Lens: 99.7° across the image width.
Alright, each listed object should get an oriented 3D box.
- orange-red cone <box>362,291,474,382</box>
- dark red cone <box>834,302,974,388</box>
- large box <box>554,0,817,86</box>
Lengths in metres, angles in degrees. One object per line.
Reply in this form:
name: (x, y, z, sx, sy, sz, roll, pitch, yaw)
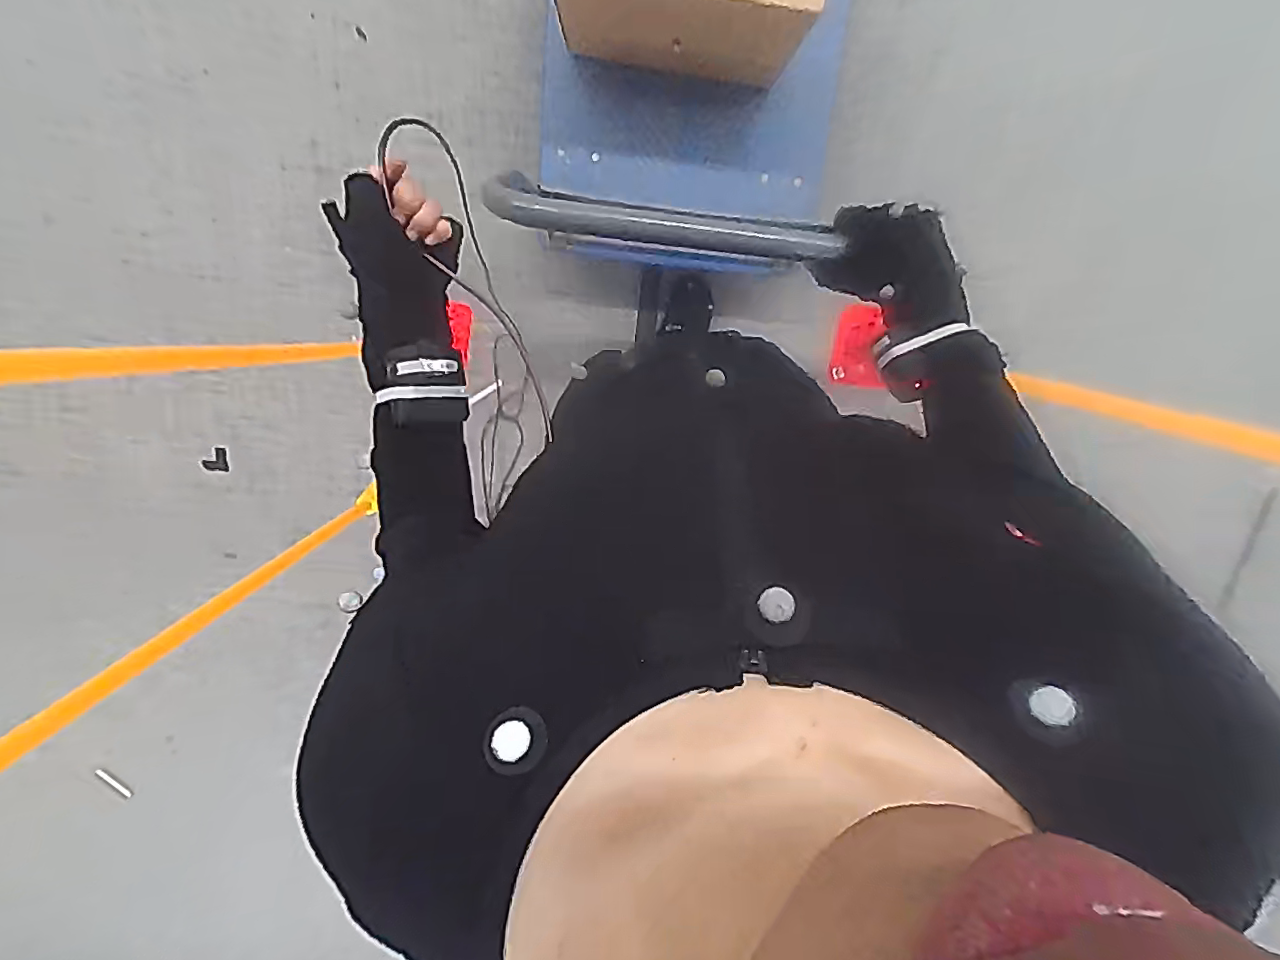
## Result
orange-red cone: (-0.527, -0.312, 1.212, 0.198, 0.360, 0.199, 12, 106, -5)
dark red cone: (0.607, -0.290, 1.211, 0.201, 0.394, 0.202, 4, 108, -4)
large box: (0.080, -0.894, 0.880, 0.408, 0.320, 0.320, 7, 108, -3)
